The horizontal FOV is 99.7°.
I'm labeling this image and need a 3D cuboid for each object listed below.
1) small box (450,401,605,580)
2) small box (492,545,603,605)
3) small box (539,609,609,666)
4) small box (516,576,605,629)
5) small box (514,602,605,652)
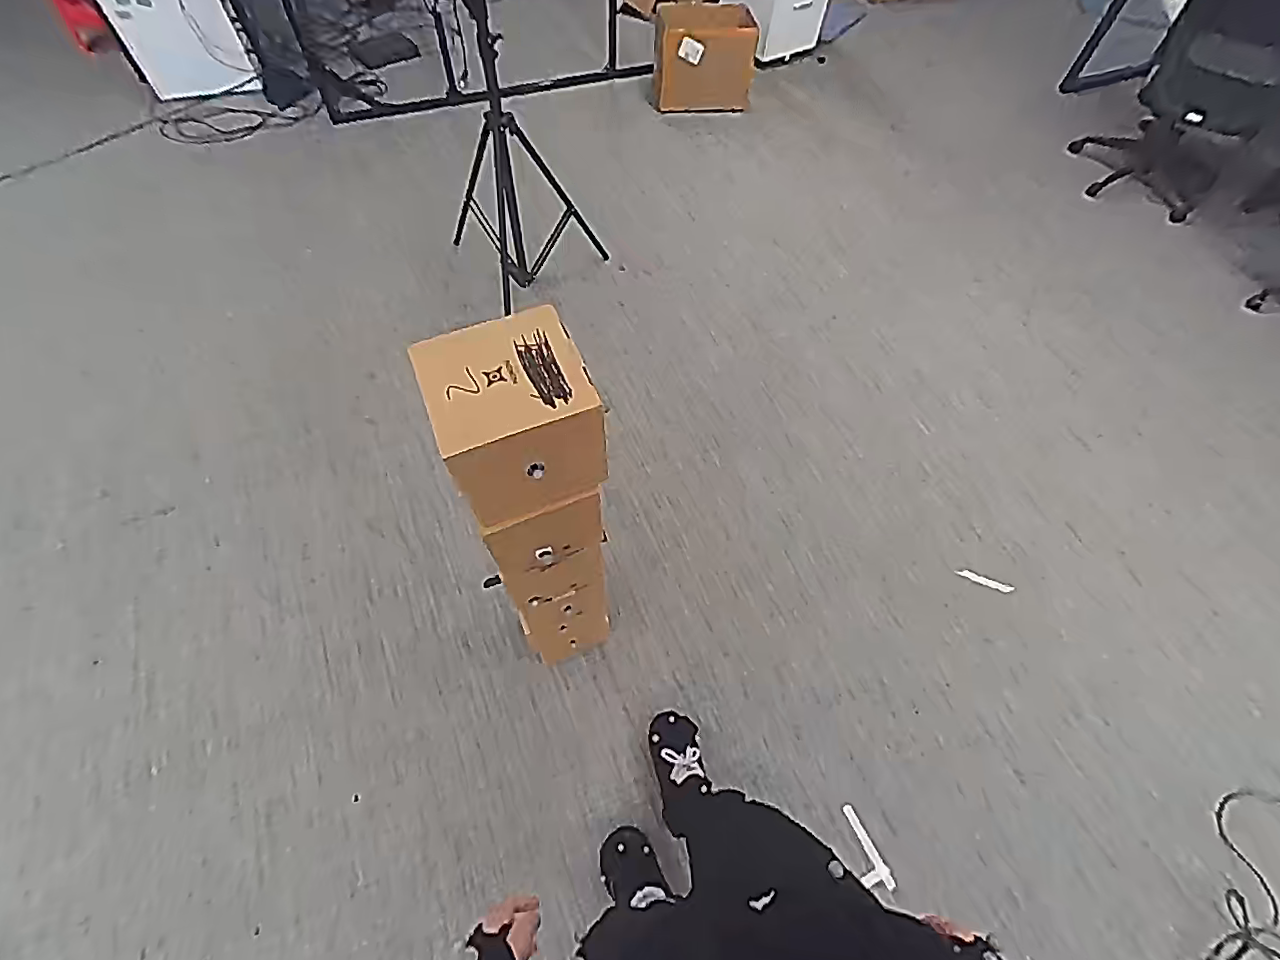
[{"bbox_3d":[-0.158,0.020,0.796,0.168,0.176,0.179,-21,64,-13],"label":"small box"},{"bbox_3d":[-0.168,0.101,0.935,0.168,0.176,0.179,-19,62,-13],"label":"small box"},{"bbox_3d":[-0.187,0.346,1.361,0.179,0.176,0.168,-20,63,-13],"label":"small box"},{"bbox_3d":[-0.171,0.183,1.078,0.168,0.176,0.179,-18,64,-13],"label":"small box"},{"bbox_3d":[-0.185,0.270,1.216,0.179,0.176,0.168,-18,63,-12],"label":"small box"}]
